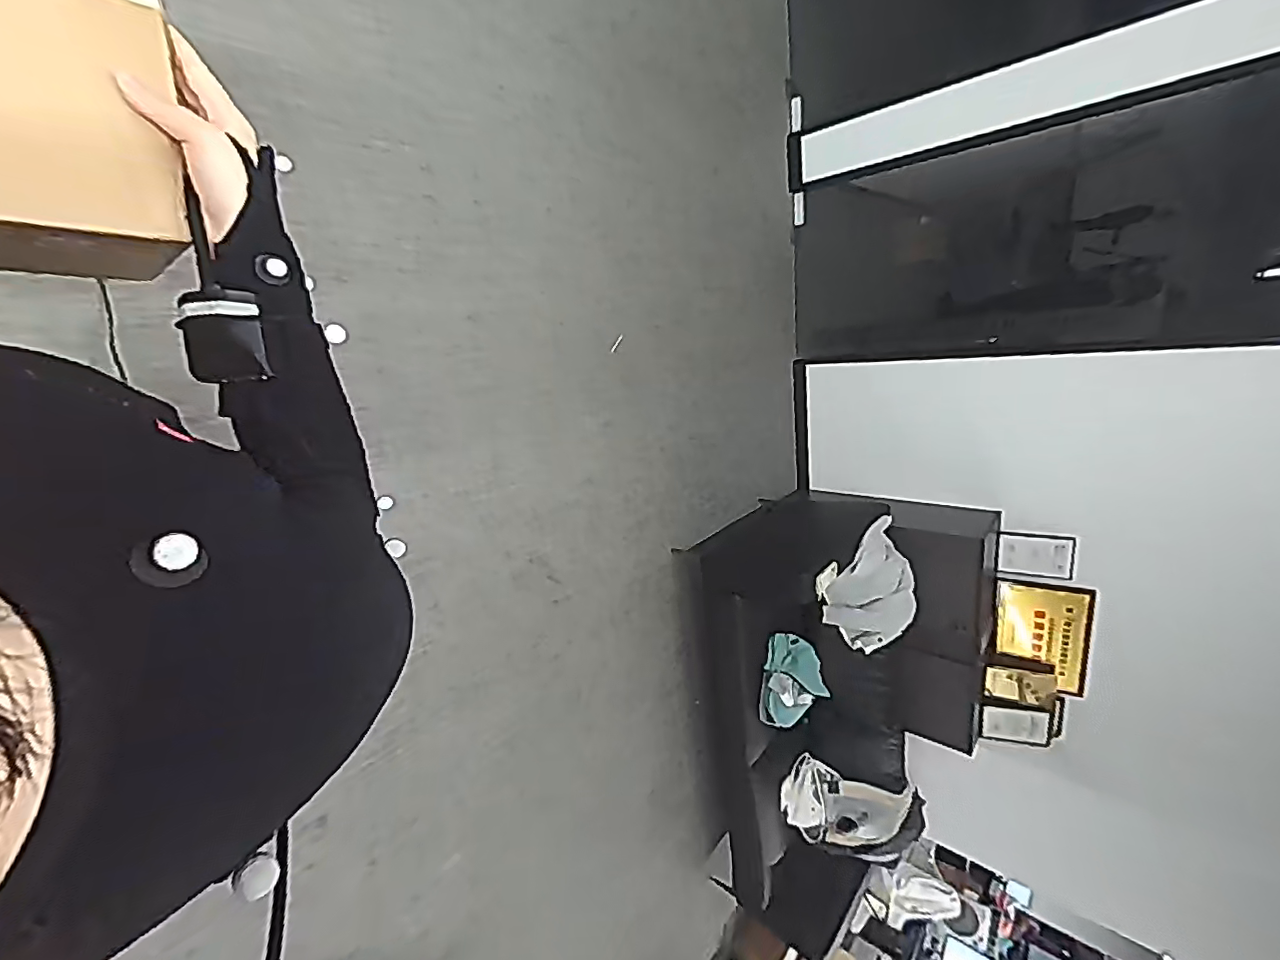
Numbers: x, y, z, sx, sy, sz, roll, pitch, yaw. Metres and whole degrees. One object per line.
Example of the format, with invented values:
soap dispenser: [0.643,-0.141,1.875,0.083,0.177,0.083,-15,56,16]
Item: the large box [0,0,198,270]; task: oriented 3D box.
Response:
large box: [-0.579,-0.323,0.331,0.408,0.320,0.320,-14,110,-46]
